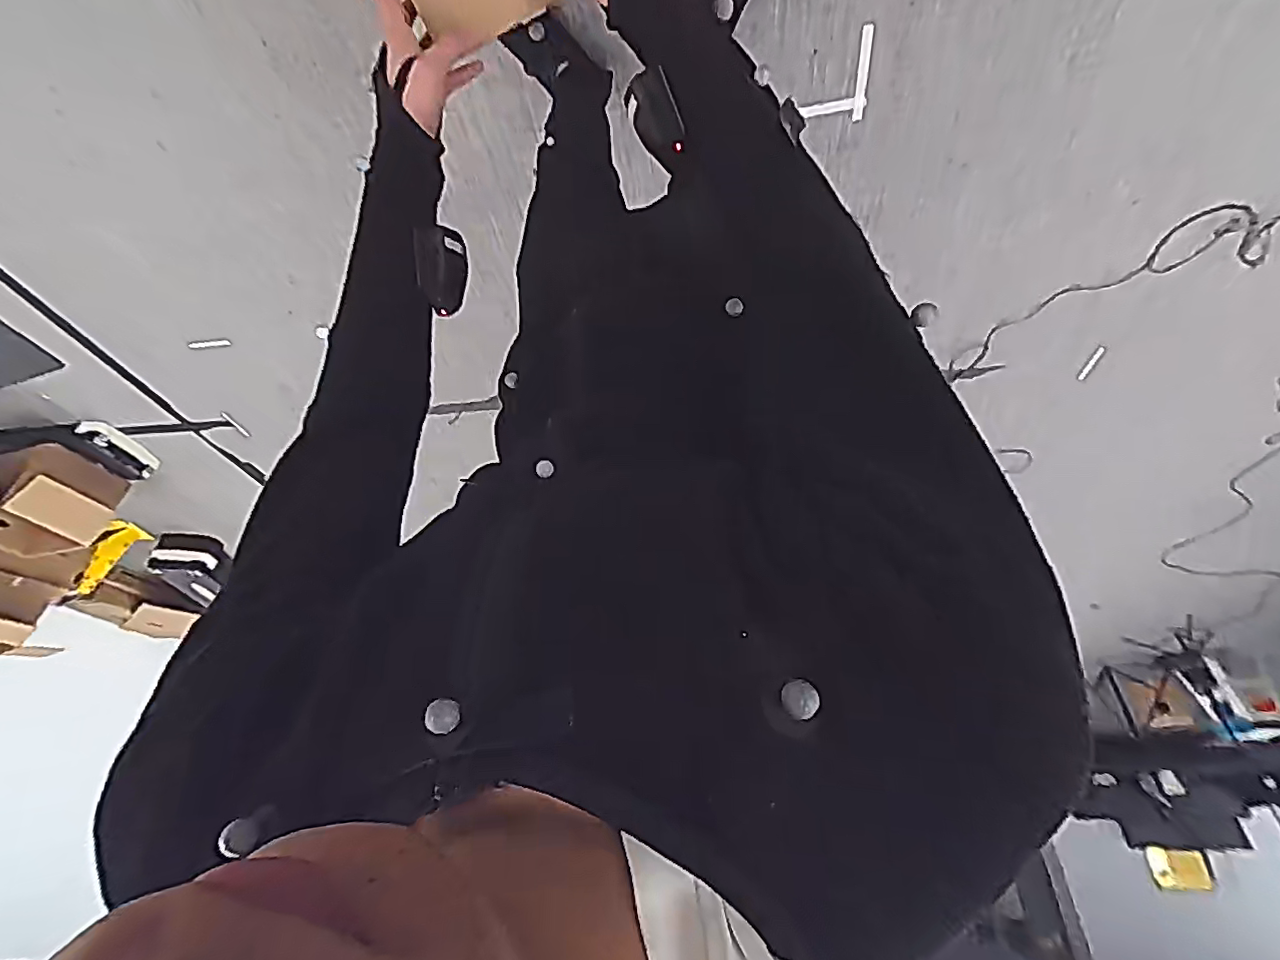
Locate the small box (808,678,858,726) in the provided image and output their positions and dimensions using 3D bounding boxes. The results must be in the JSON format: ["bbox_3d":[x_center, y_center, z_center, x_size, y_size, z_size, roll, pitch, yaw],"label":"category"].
[{"bbox_3d":[0.825,0.953,2.324,0.168,0.176,0.179,-4,147,9],"label":"small box"}]

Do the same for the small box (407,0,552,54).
[{"bbox_3d":[-0.135,-0.504,0.456,0.168,0.176,0.179,-17,132,16],"label":"small box"}]
